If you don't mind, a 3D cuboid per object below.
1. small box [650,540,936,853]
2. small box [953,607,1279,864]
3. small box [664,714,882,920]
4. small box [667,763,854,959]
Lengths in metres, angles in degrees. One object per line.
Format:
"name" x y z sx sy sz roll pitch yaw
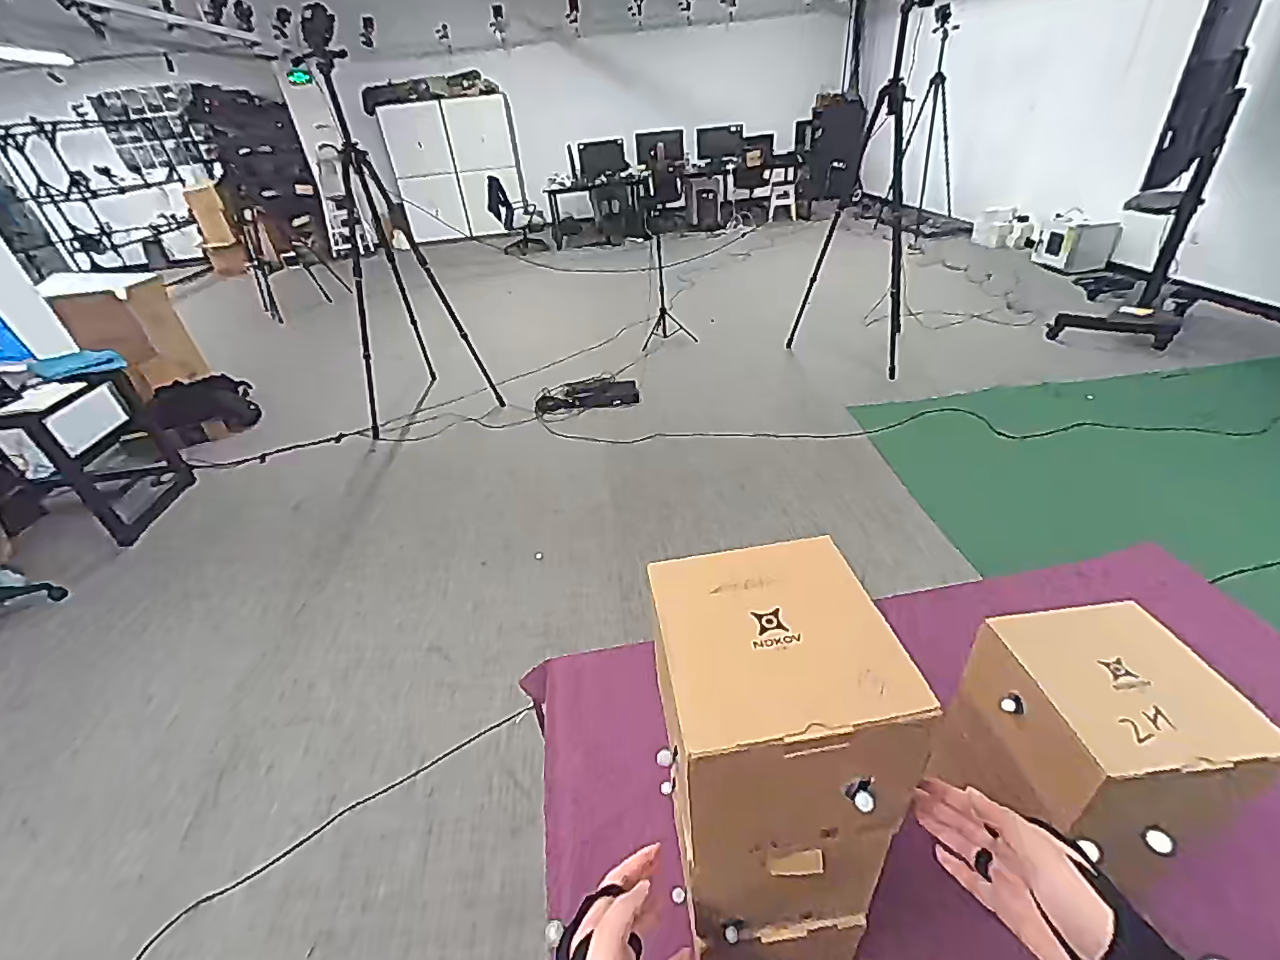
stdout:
"small box" 0.104 0.177 0.445 0.168 0.176 0.179 -7 35 -3
"small box" 0.462 0.260 0.561 0.168 0.176 0.179 -6 35 0
"small box" 0.115 0.308 0.542 0.168 0.176 0.179 -6 34 -1
"small box" 0.127 0.446 0.630 0.168 0.176 0.179 -6 36 -2
